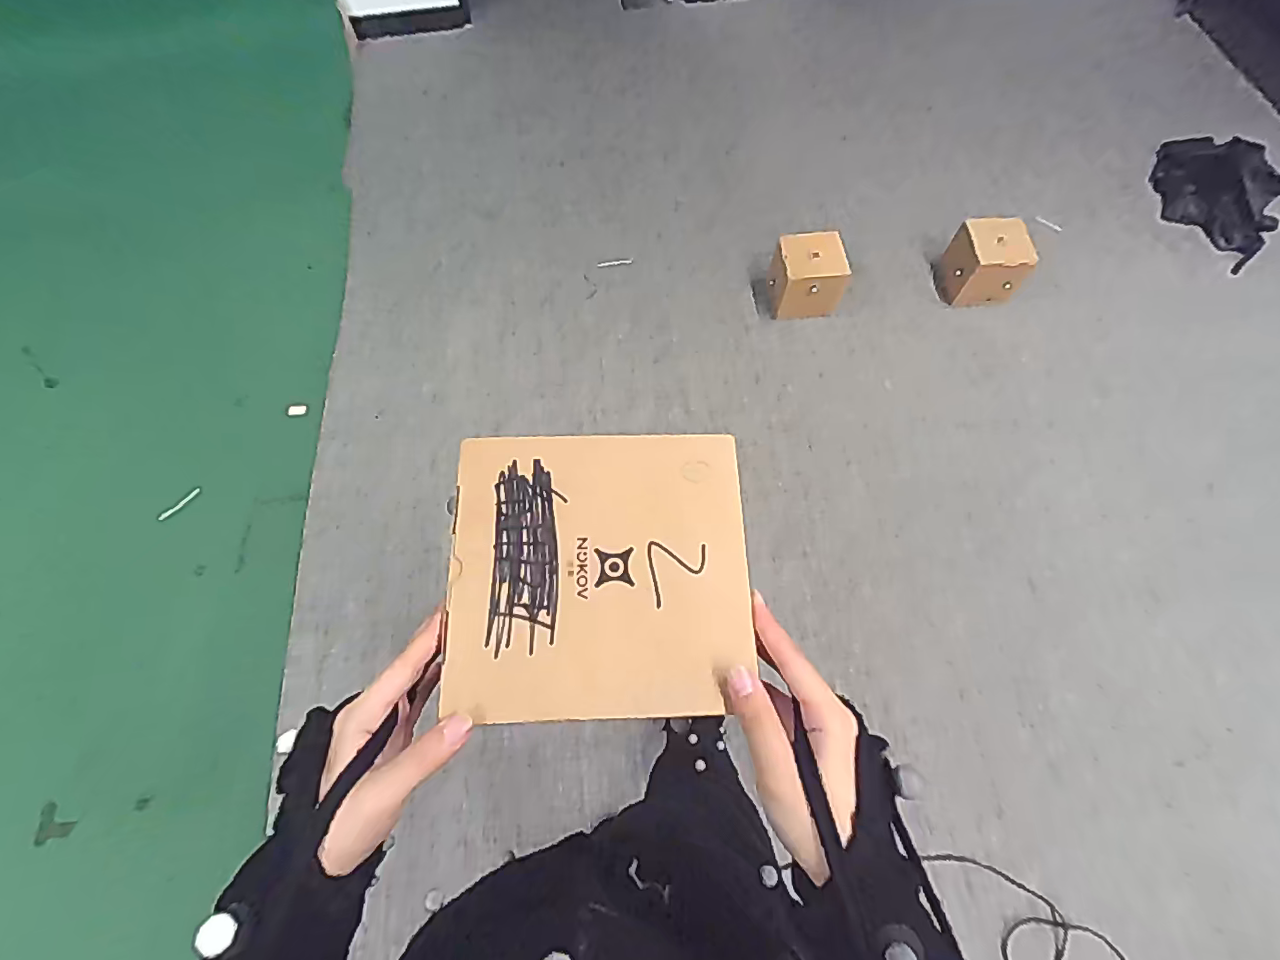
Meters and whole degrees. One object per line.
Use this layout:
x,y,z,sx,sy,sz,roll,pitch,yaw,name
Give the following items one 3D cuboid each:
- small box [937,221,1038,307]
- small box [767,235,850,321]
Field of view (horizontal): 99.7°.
1.007,-0.627,1.583,0.168,0.176,0.179,-1,65,0,small box
0.485,-0.586,1.579,0.179,0.176,0.168,-5,66,0,small box
